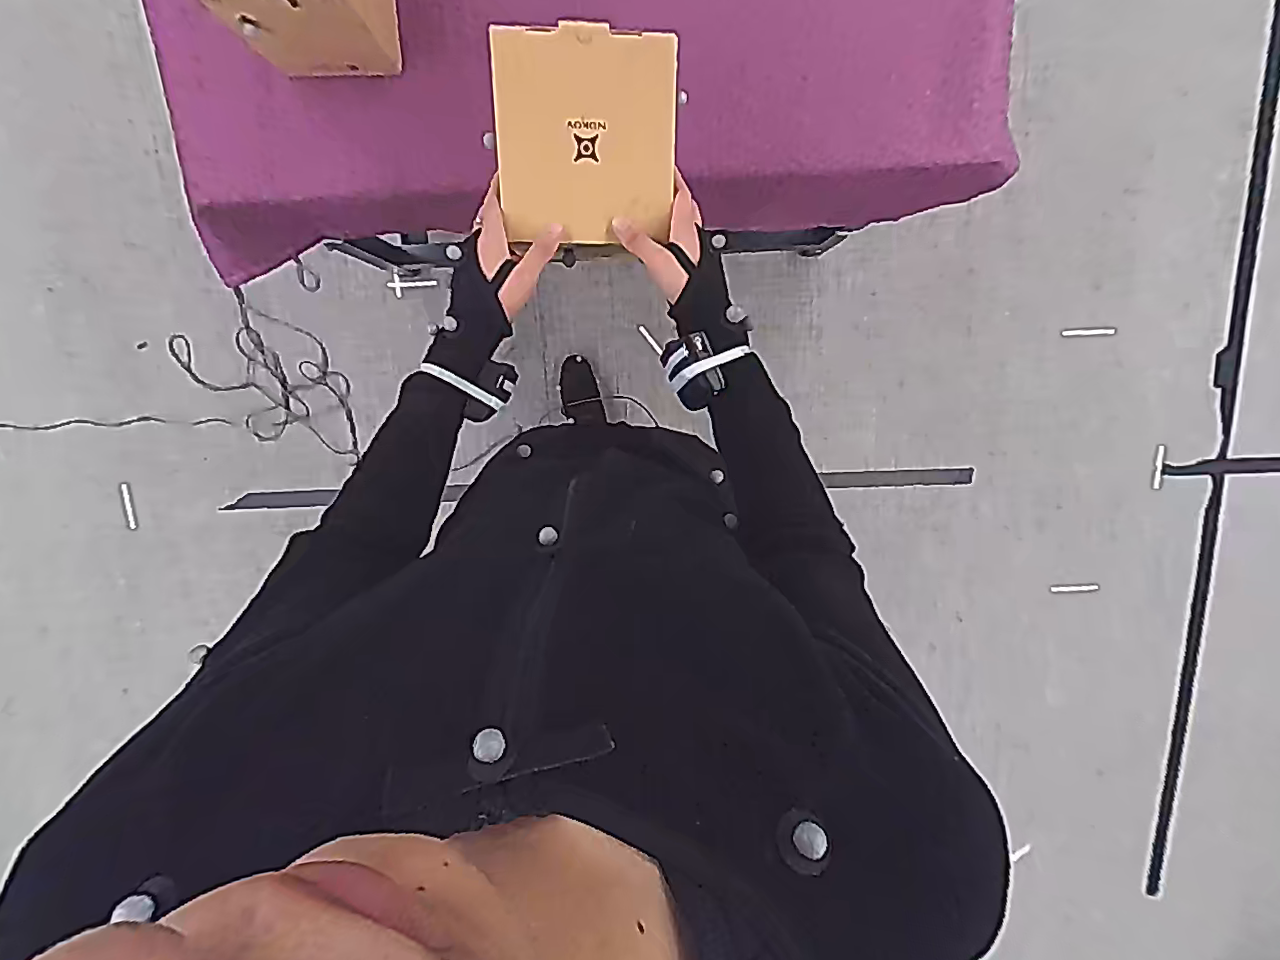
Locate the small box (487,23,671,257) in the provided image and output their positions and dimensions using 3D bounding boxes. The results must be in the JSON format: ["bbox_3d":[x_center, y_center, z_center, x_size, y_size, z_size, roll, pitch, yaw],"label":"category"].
[{"bbox_3d":[-0.060,-0.338,0.576,0.168,0.176,0.179,-1,106,-5],"label":"small box"}]
